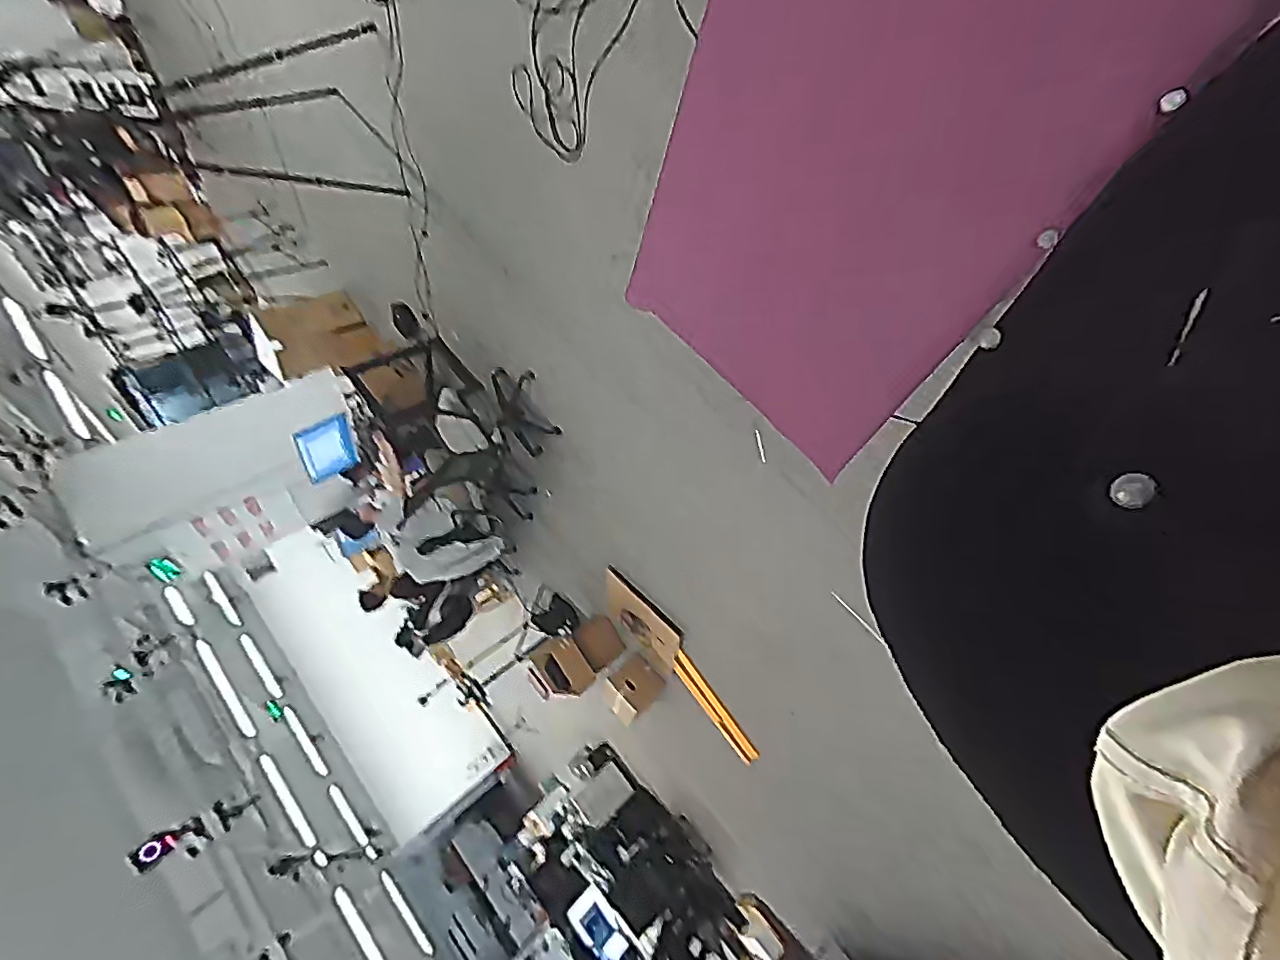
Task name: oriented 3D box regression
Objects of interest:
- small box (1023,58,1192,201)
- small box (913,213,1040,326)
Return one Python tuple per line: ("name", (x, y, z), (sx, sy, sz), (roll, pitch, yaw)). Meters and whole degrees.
("small box", (0.902, -0.679, 1.043), (0.168, 0.176, 0.179), (48, 147, 16))
("small box", (0.813, -0.511, 1.307), (0.168, 0.176, 0.179), (47, 146, 17))
